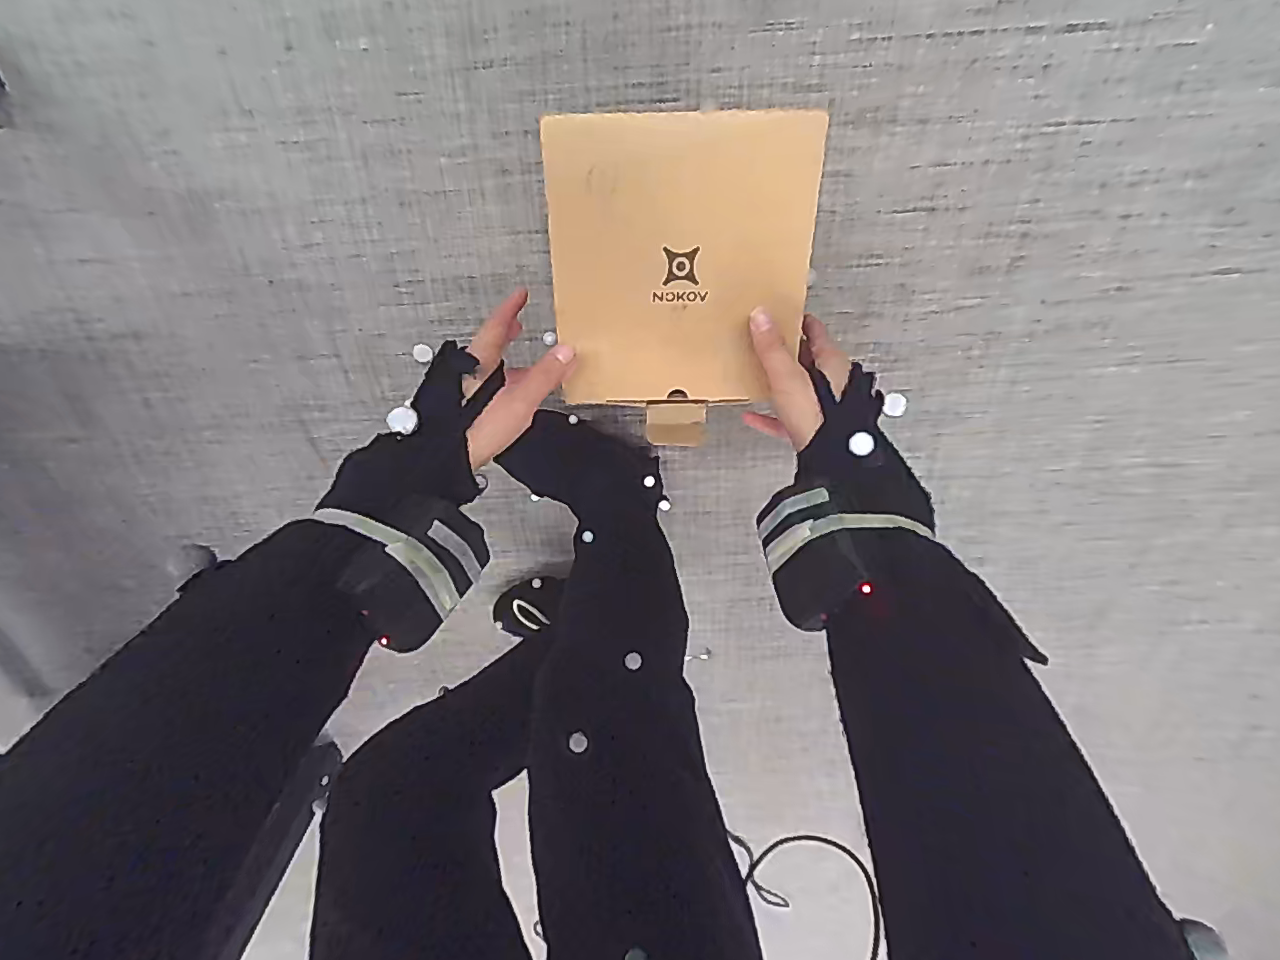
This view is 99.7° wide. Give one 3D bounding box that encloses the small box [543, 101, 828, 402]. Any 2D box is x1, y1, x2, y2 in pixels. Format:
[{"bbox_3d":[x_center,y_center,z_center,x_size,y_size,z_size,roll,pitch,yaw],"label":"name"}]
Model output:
[{"bbox_3d":[0.025,-0.169,0.411,0.168,0.176,0.179,-1,118,0],"label":"small box"}]
